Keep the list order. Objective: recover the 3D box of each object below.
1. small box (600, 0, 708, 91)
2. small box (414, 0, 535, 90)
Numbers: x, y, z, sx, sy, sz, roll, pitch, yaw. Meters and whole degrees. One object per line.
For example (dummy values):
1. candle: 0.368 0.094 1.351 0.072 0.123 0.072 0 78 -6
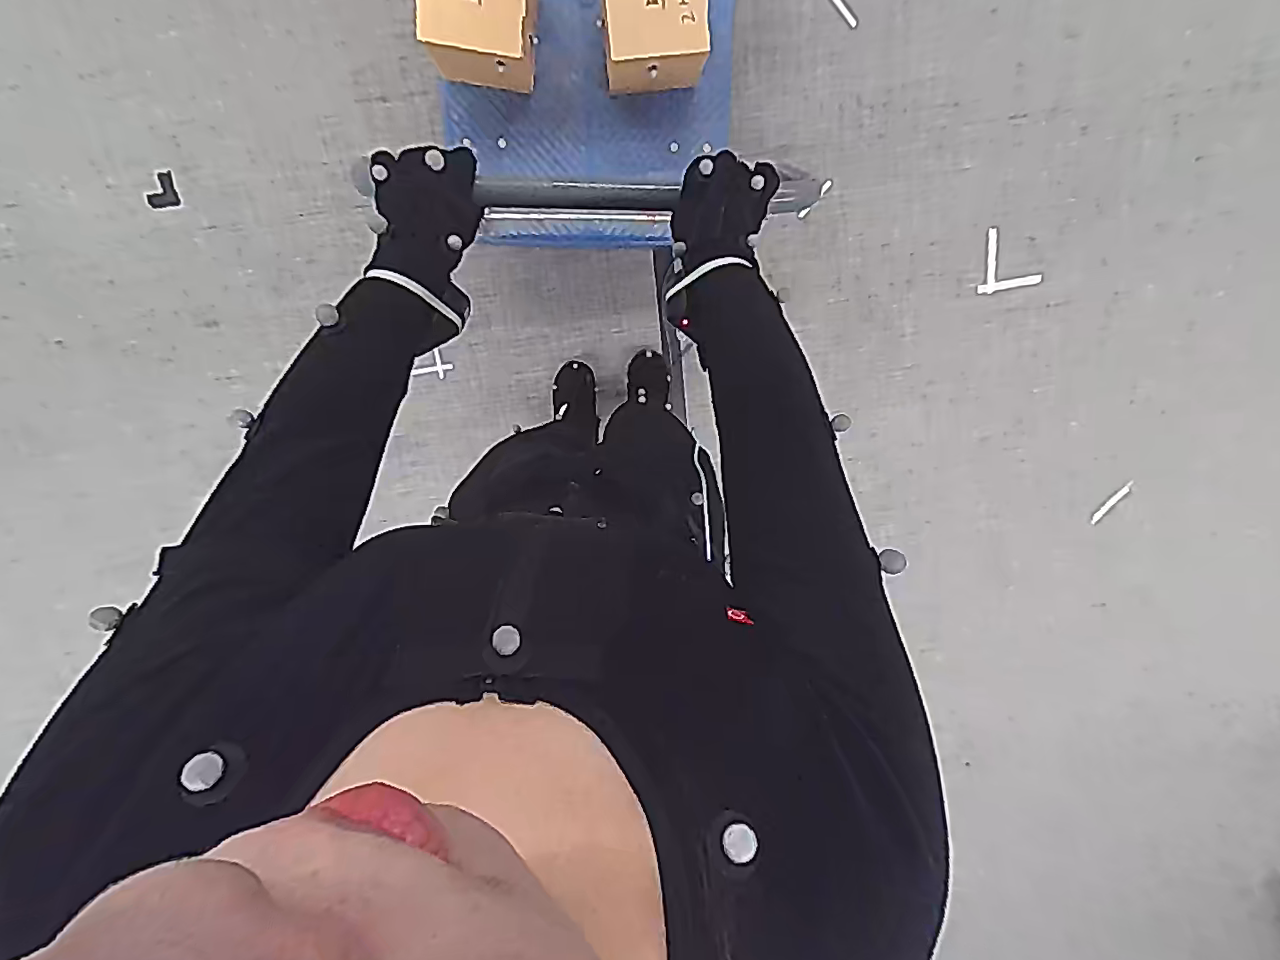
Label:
1. small box: 0.019 -0.826 0.972 0.179 0.176 0.168 -7 110 -2
2. small box: -0.285 -0.818 0.951 0.179 0.176 0.168 4 108 -8
